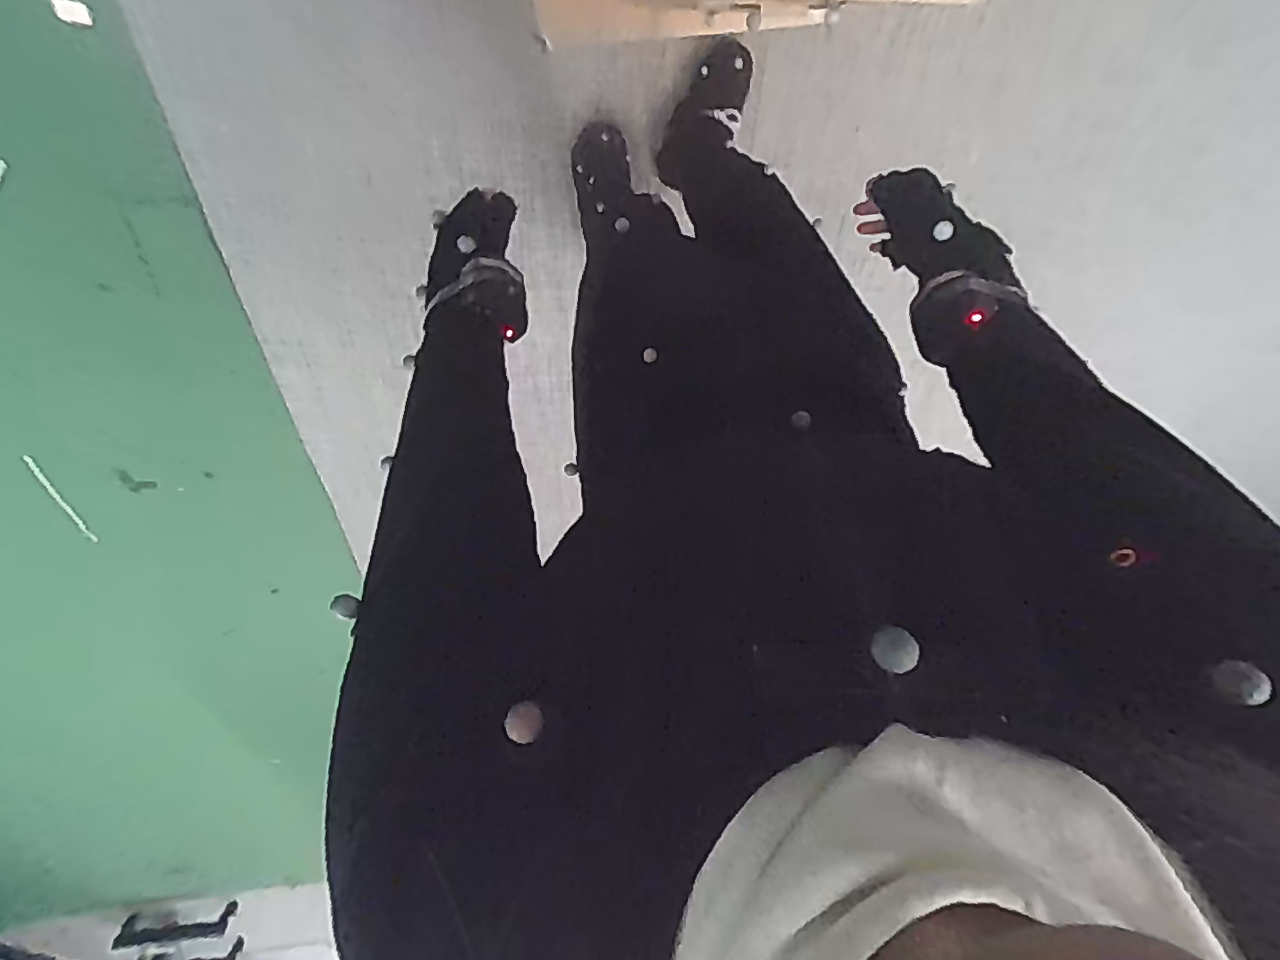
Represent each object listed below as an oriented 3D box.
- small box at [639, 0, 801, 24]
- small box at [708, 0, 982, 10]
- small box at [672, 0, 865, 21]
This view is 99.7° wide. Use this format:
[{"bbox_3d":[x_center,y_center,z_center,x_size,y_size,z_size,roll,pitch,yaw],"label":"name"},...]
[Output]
[{"bbox_3d":[0.096,-0.638,0.621,0.179,0.176,0.168,-3,131,-6],"label":"small box"},{"bbox_3d":[0.143,-0.435,0.371,0.179,0.176,0.168,-5,132,-7],"label":"small box"},{"bbox_3d":[0.119,-0.539,0.494,0.168,0.176,0.179,-5,132,-6],"label":"small box"}]
